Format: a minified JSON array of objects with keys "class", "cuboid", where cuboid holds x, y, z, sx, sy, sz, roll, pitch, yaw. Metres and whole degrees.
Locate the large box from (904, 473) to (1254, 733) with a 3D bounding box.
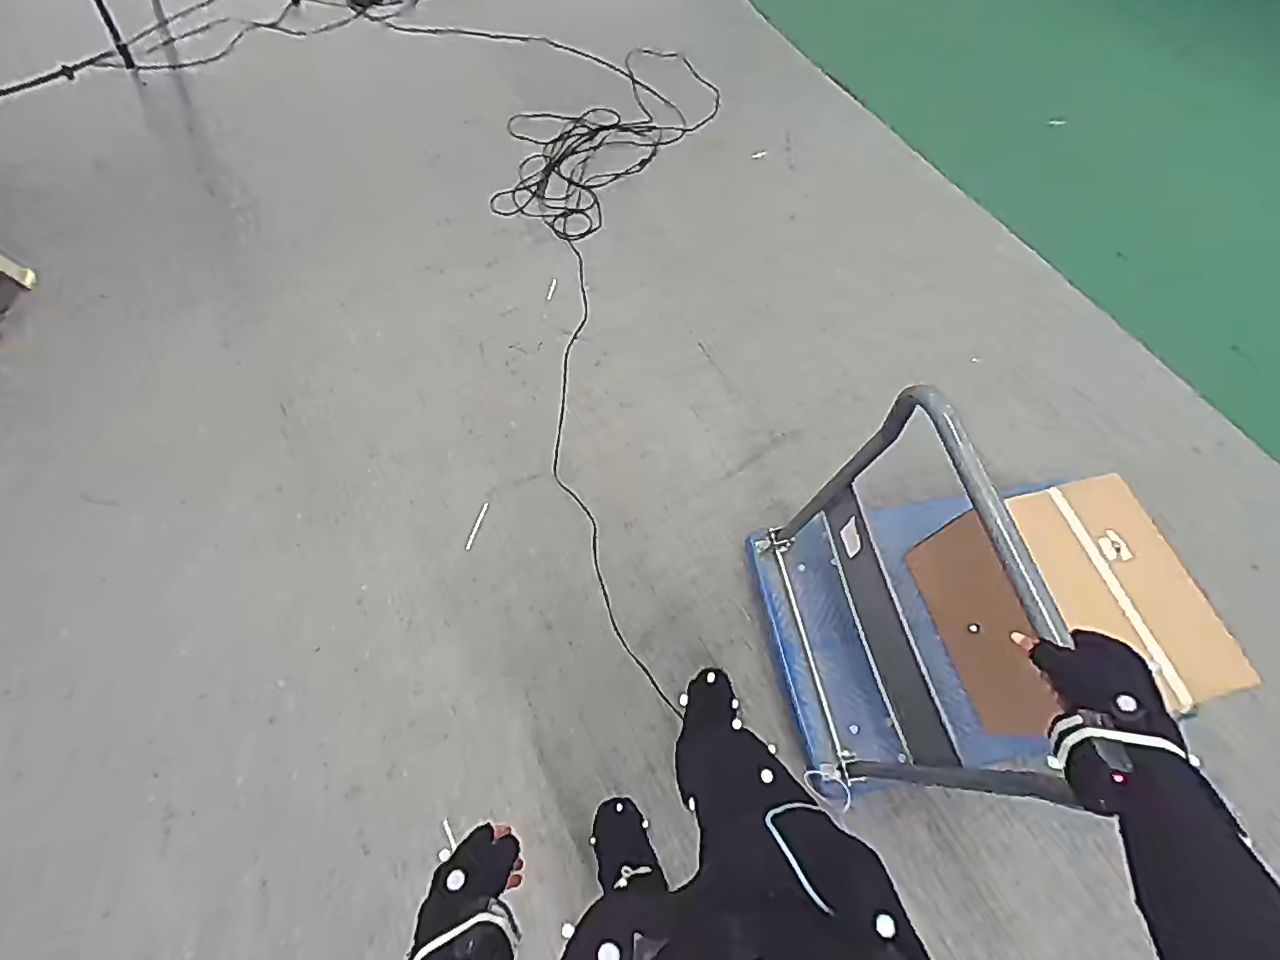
[{"class":"large box","cuboid":[0.821,0.257,1.092,0.320,0.320,0.408,-12,65,-8]}]
